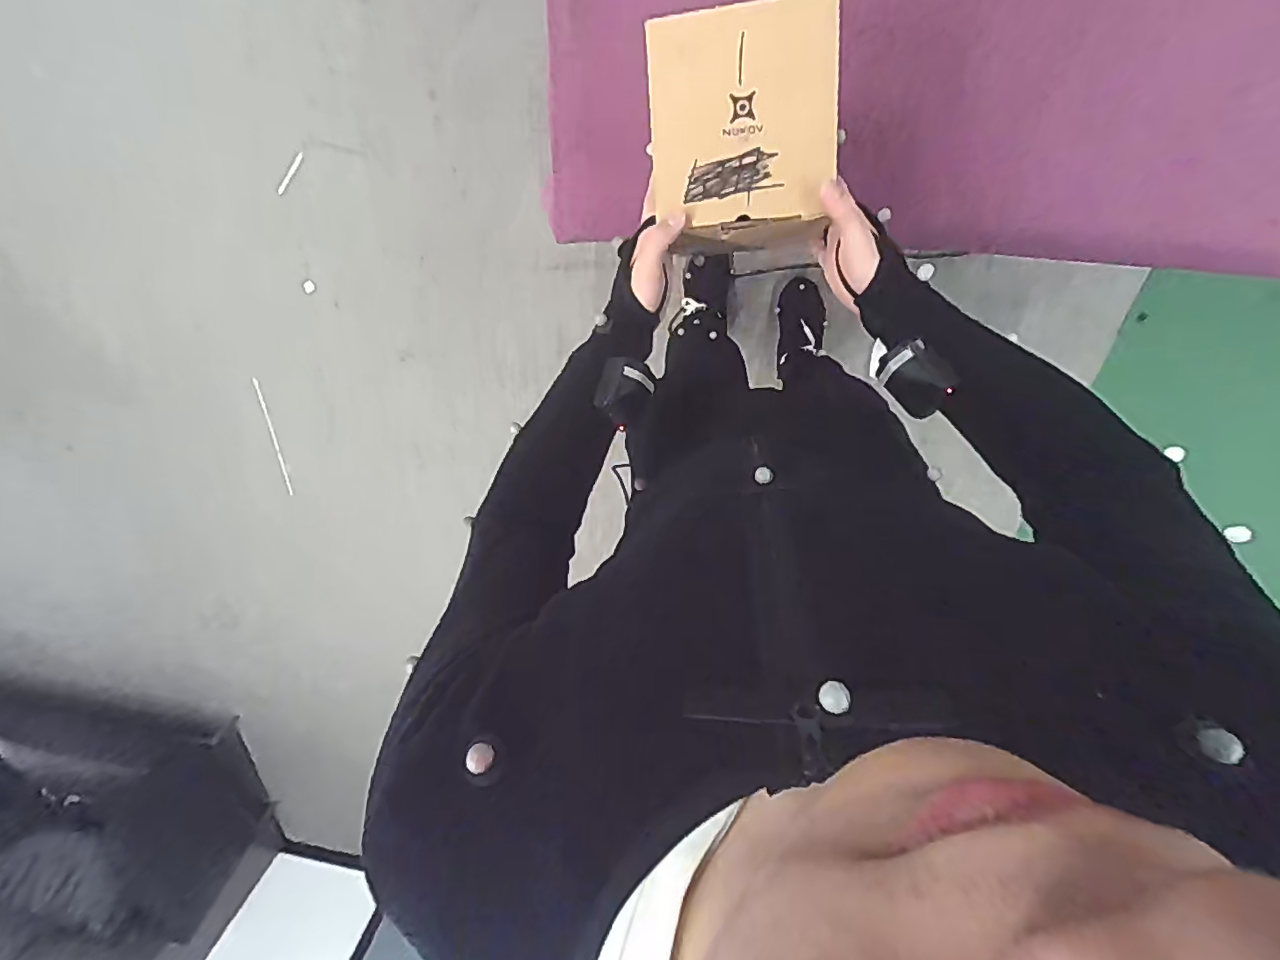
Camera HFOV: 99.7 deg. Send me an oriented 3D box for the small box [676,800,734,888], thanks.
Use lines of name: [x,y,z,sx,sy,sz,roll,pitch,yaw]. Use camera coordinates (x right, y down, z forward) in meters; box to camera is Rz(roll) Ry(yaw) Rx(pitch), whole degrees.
small box: [0.223,1.225,1.824,0.168,0.176,0.179,11,121,5]

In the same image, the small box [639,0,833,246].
small box: [0.099,-0.346,0.554,0.168,0.176,0.179,-1,104,11]

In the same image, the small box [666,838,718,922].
small box: [0.195,1.441,1.956,0.168,0.176,0.179,10,118,7]
